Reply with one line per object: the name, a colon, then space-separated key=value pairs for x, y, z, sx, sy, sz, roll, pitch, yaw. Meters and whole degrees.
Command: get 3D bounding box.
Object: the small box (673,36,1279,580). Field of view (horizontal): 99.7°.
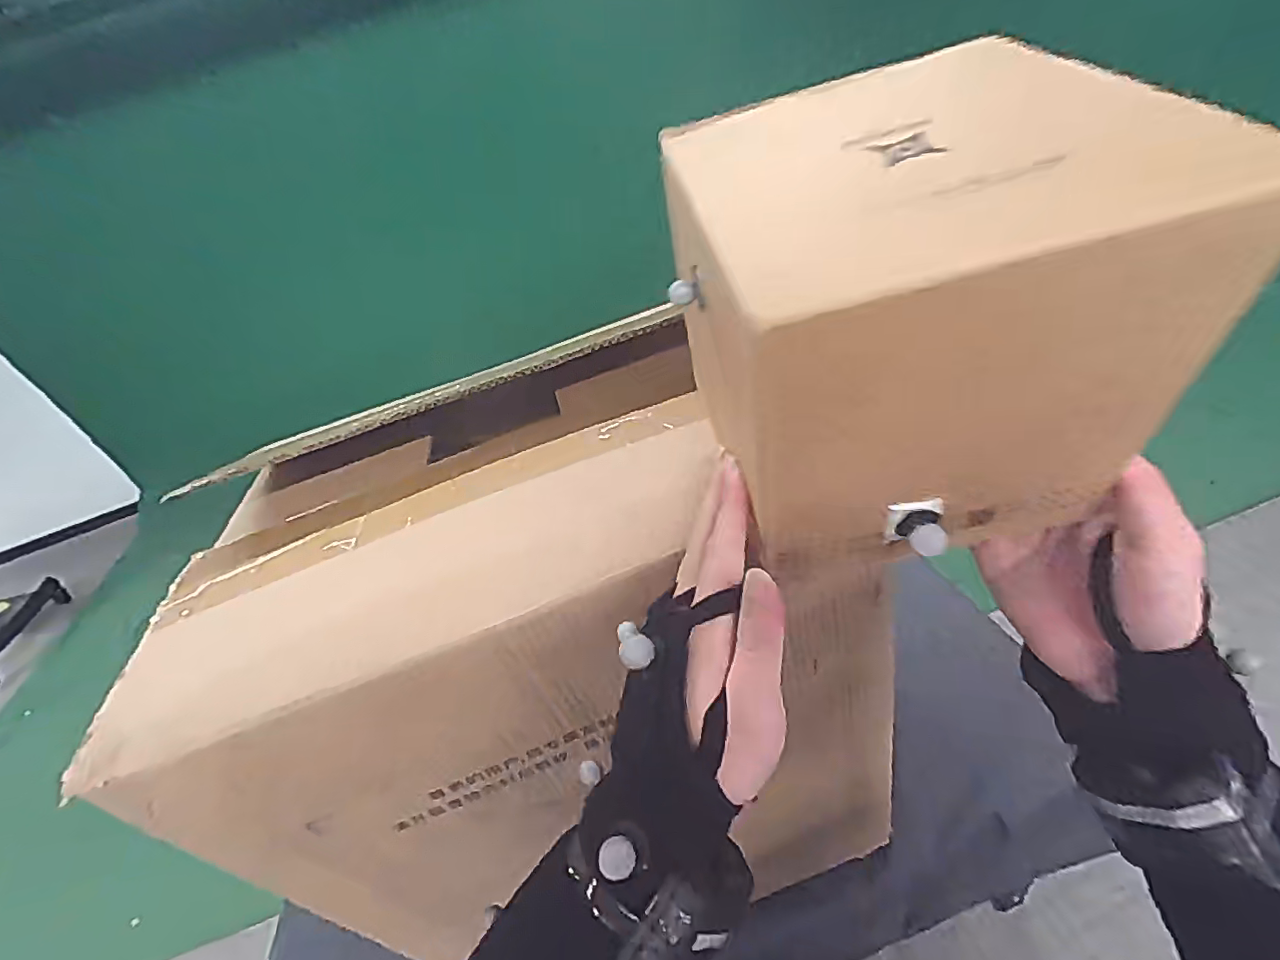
small box: x=0.121 y=-0.078 z=0.268 sx=0.168 sy=0.176 sz=0.179 roll=-15 pitch=50 yaw=3
